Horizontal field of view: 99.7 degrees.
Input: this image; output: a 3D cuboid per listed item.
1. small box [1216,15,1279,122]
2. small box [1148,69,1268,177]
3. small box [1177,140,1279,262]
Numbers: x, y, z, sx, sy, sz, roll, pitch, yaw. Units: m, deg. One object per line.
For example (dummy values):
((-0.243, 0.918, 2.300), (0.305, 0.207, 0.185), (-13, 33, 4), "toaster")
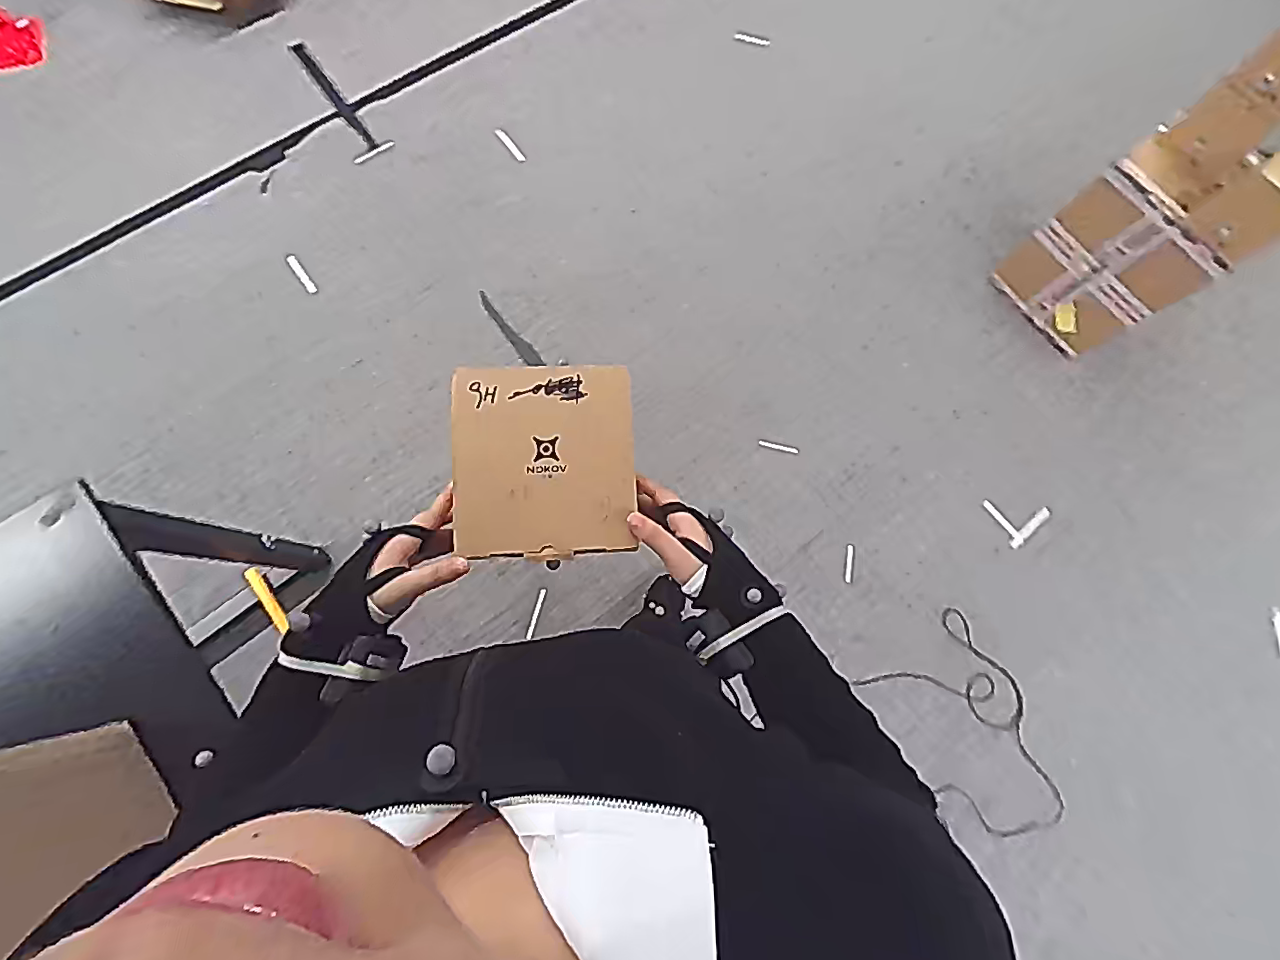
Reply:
((1.434, -0.933, 1.170), (0.179, 0.176, 0.168), (-36, 79, -9), "small box")
((1.427, -0.896, 1.328), (0.179, 0.176, 0.168), (-36, 80, -10), "small box")
((1.448, -0.660, 1.275), (0.179, 0.176, 0.168), (-36, 82, -9), "small box")
